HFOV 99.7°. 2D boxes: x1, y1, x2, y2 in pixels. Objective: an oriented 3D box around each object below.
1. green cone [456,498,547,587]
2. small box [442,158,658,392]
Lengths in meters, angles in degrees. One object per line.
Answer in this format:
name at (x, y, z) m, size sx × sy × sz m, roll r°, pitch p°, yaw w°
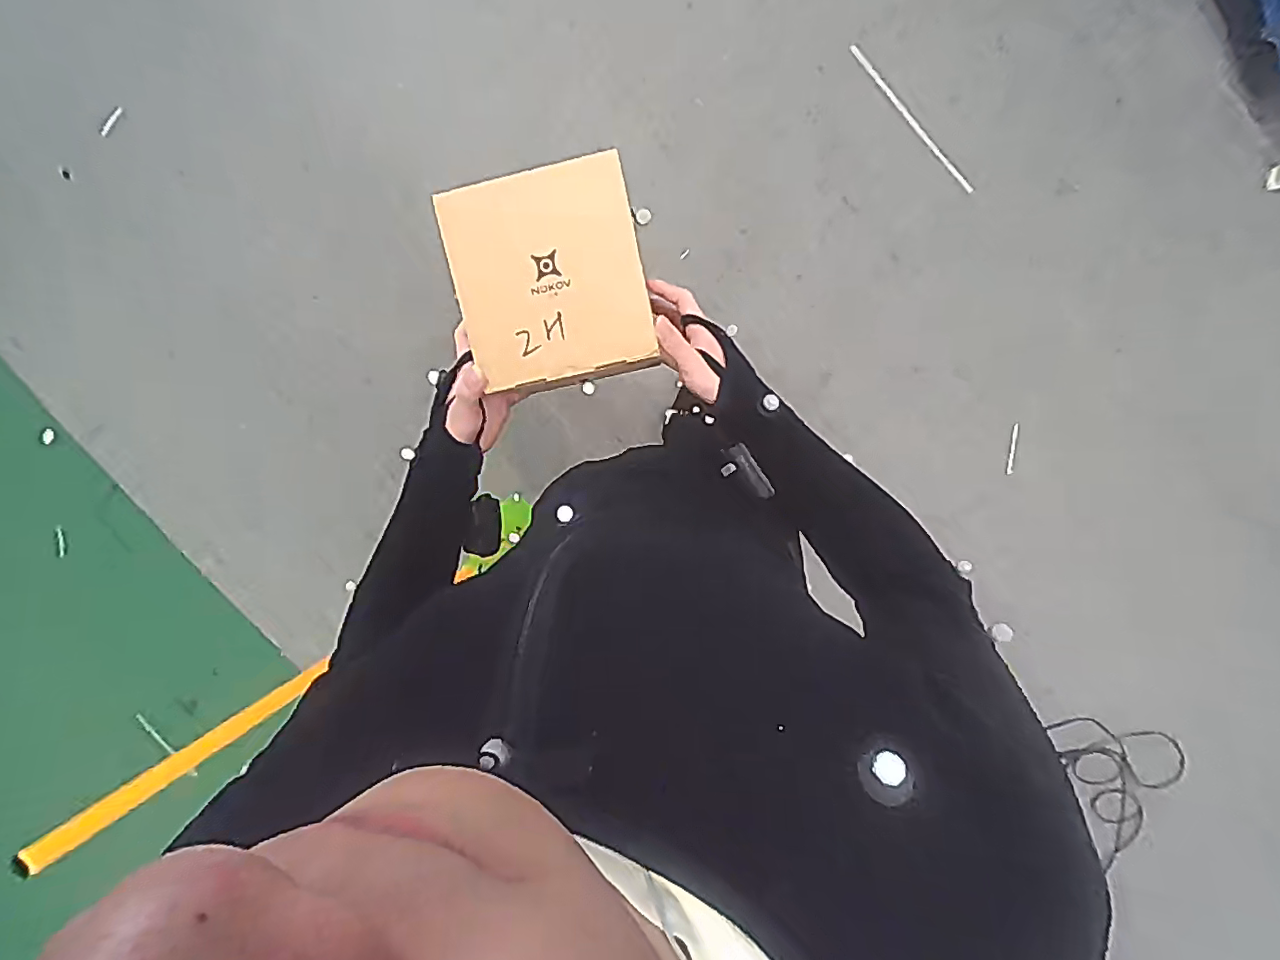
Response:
green cone at (-0.433, 0.213, 1.528) m, size 0.200 × 0.368 × 0.202 m, roll -39°, pitch 95°, yaw 11°
small box at (-0.077, -0.191, 0.558) m, size 0.168 × 0.176 × 0.179 m, roll -10°, pitch 99°, yaw 4°
